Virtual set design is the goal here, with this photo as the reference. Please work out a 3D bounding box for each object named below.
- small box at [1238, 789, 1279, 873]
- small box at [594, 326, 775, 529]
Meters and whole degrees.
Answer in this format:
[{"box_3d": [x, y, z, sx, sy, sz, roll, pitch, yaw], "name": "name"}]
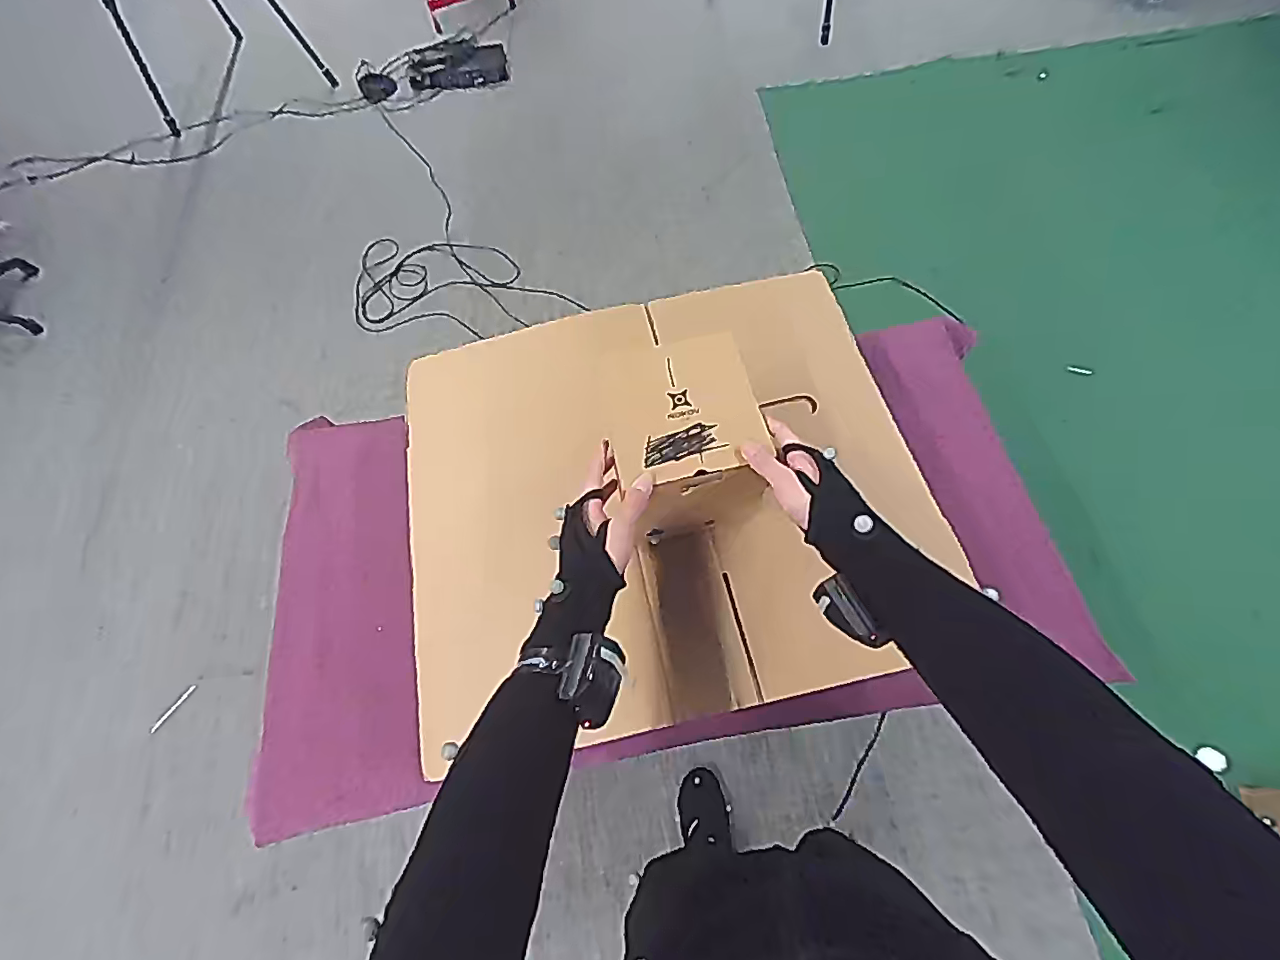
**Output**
[{"box_3d": [1.494, 0.781, 1.176, 0.179, 0.176, 0.168, 4, 66, 7], "name": "small box"}, {"box_3d": [0.046, -0.051, 0.652, 0.168, 0.176, 0.179, -11, 64, -4], "name": "small box"}]
